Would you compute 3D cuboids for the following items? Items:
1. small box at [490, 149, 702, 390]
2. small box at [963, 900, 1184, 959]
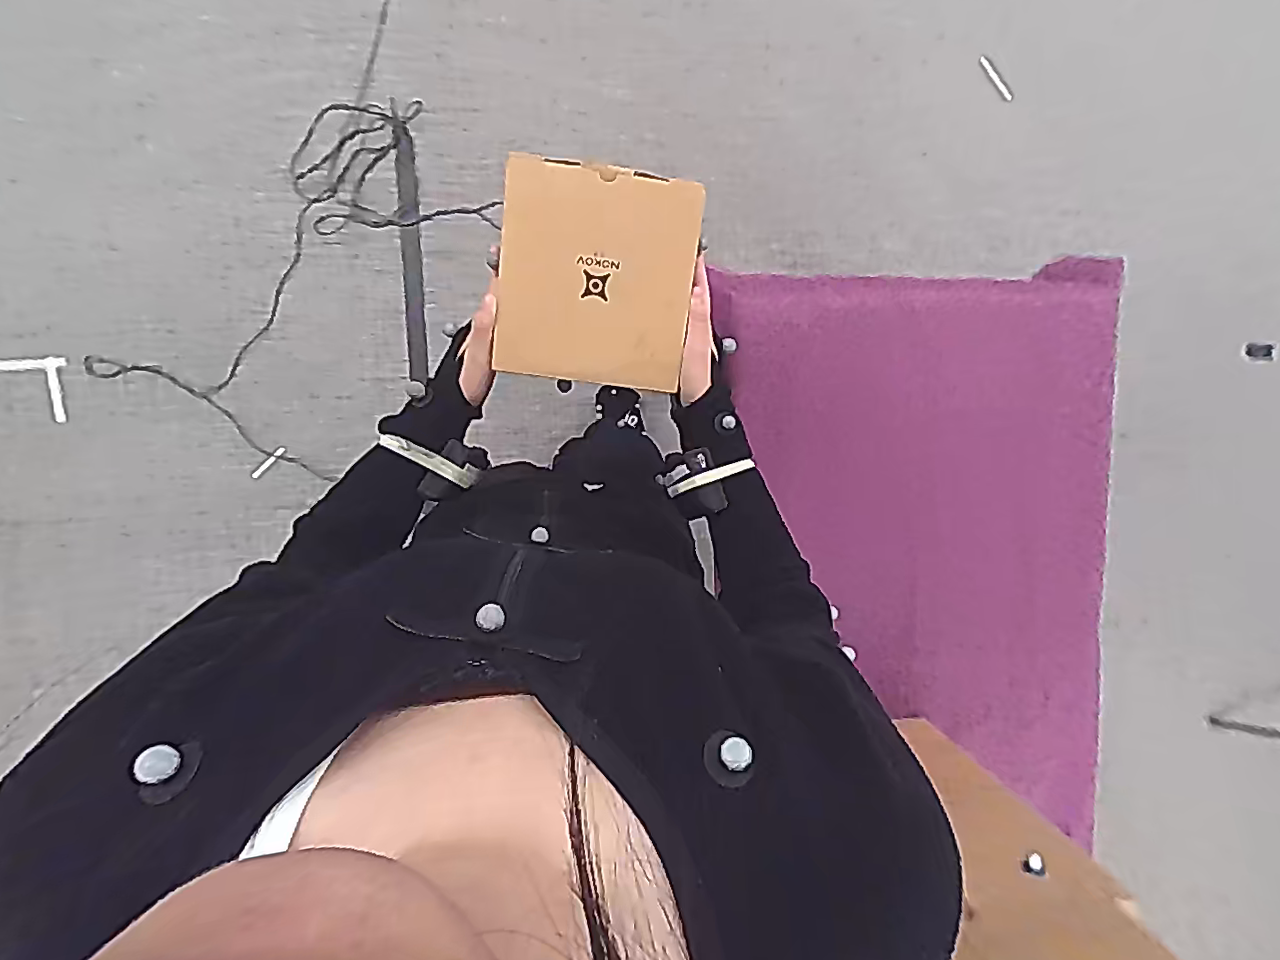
[{"bbox_3d":[-0.045,-0.188,0.533,0.168,0.176,0.179,5,101,-6],"label":"small box"},{"bbox_3d":[0.397,0.503,0.454,0.179,0.176,0.168,-3,97,-7],"label":"small box"}]
